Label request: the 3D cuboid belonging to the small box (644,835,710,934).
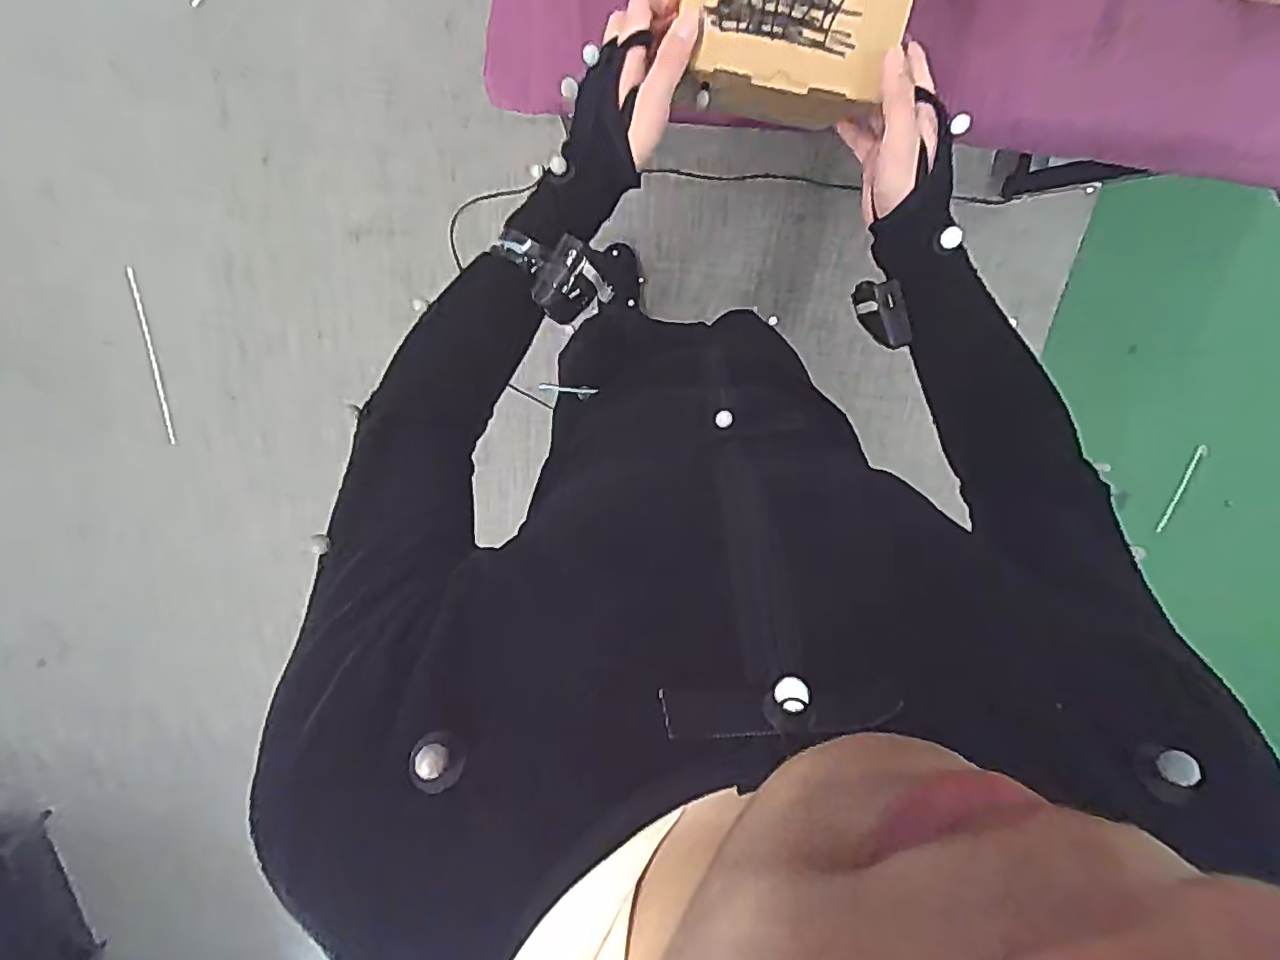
[{"bbox_3d":[0.104,1.203,1.614,0.168,0.176,0.179,6,110,-4],"label":"small box"}]
